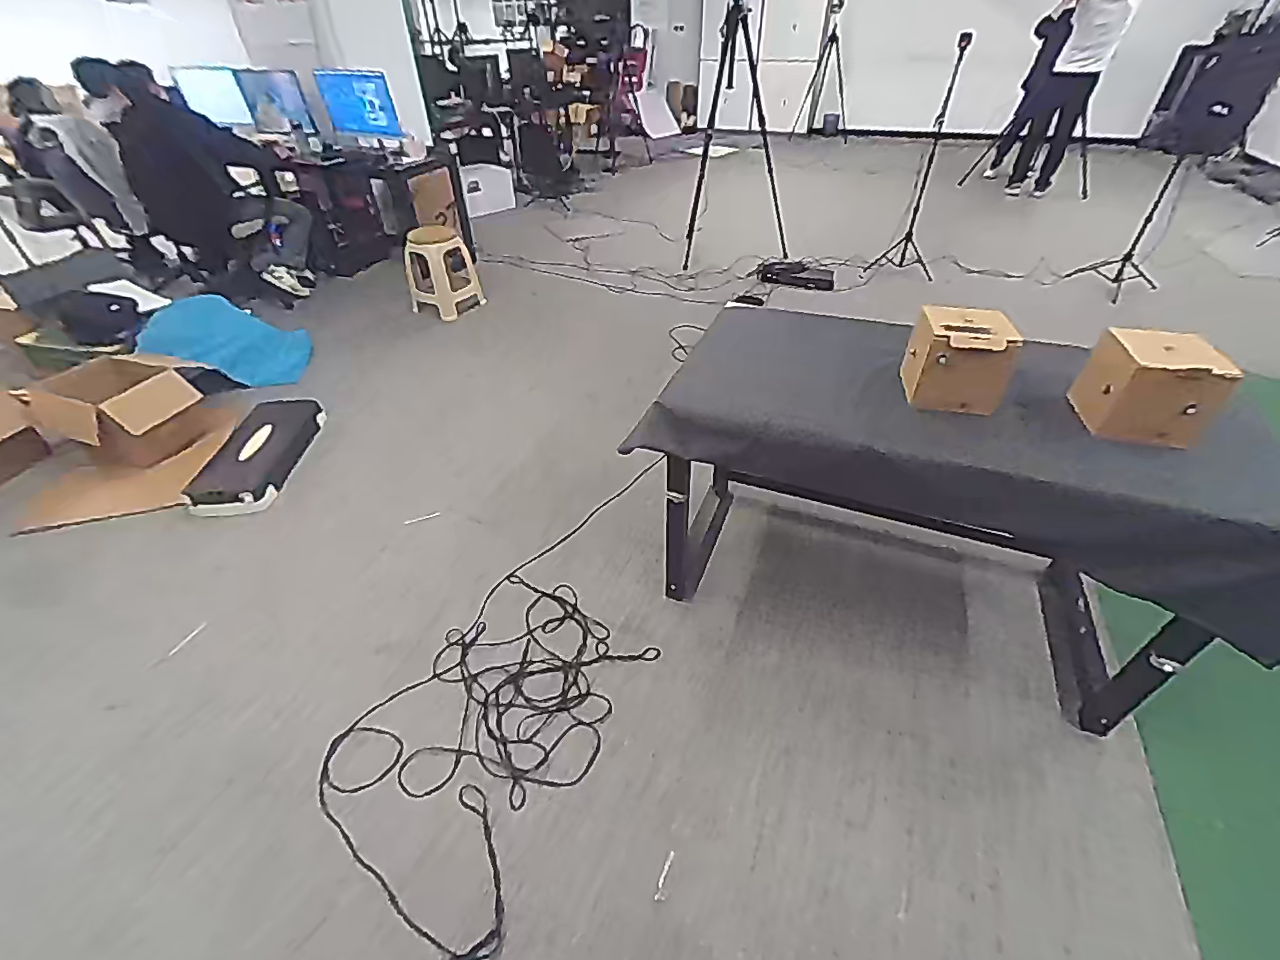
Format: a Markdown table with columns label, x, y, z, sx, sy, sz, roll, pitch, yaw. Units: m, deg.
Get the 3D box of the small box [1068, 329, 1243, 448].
| label | x | y | z | sx | sy | sz | roll | pitch | yaw |
| --- | --- | --- | --- | --- | --- | --- | --- | --- | --- |
| small box | 1.011 | -0.183 | 1.083 | 0.168 | 0.176 | 0.179 | 10 | 40 | 11 |
